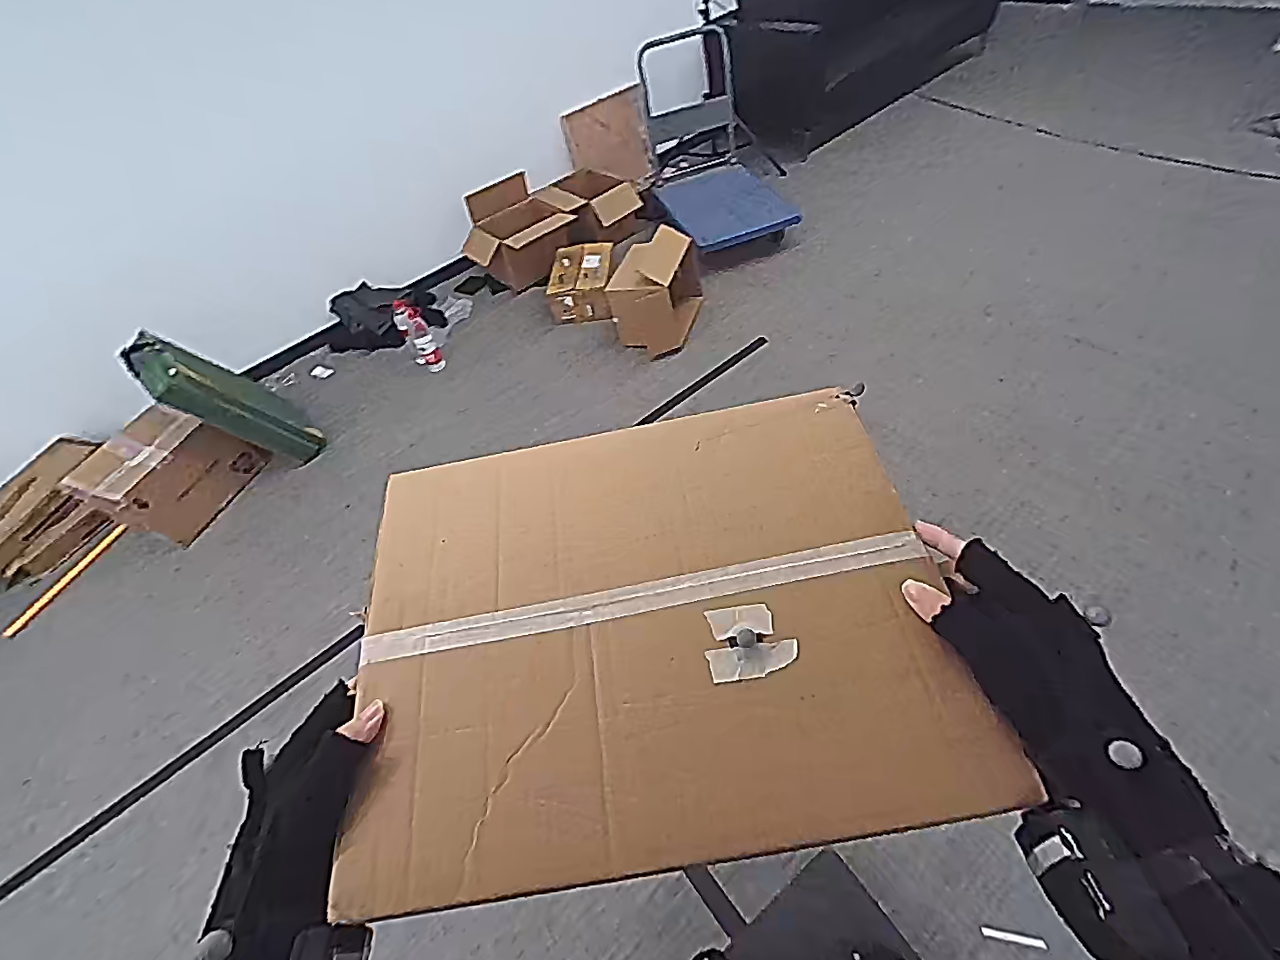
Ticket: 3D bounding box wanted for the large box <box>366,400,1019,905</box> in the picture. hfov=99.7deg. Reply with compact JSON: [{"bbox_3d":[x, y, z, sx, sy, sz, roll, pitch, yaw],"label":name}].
[{"bbox_3d":[0.025,0.172,0.523,0.408,0.320,0.320,-11,56,2],"label":"large box"}]
